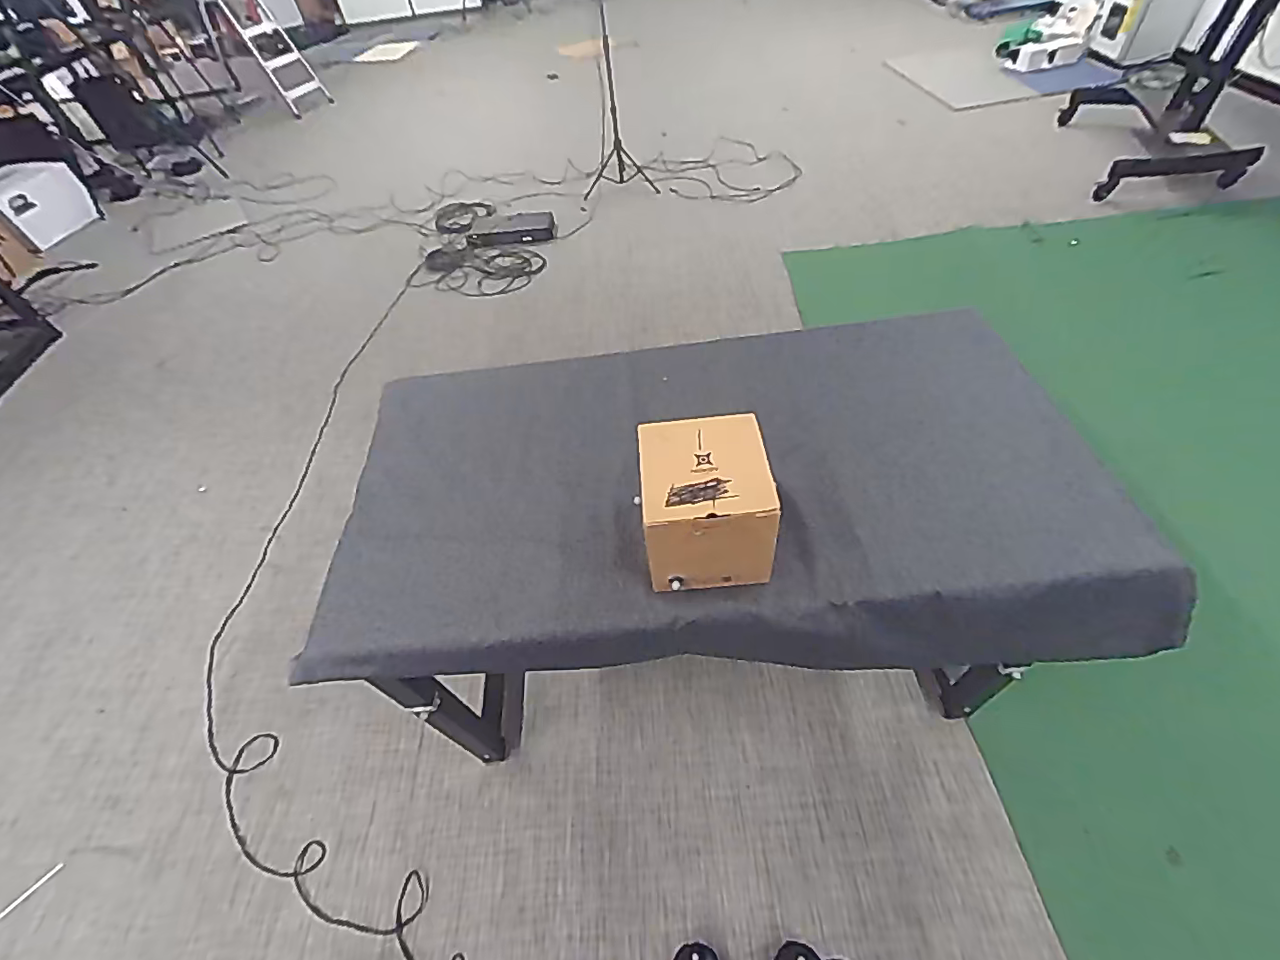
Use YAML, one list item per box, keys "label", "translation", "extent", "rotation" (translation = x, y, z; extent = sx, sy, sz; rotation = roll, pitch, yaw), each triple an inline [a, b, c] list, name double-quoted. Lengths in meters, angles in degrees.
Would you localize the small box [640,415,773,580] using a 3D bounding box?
- label: "small box"
  translation: [0.091, 0.032, 0.778]
  extent: [0.168, 0.176, 0.179]
  rotation: [-5, 49, 3]
